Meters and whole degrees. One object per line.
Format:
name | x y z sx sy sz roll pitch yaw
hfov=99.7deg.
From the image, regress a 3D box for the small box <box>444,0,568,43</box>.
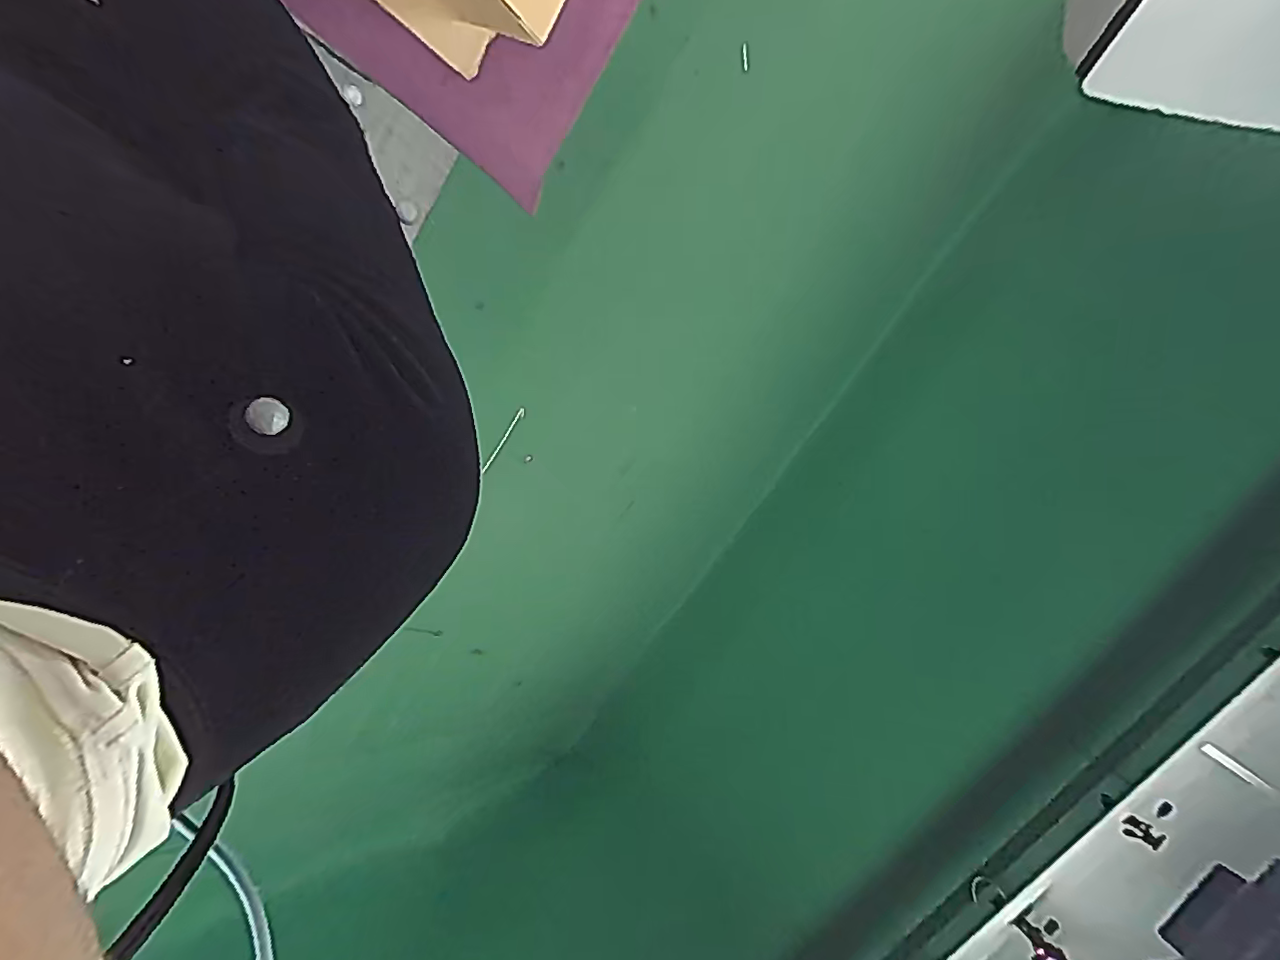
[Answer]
small box | -0.139 -0.526 0.448 0.168 0.176 0.179 8 120 -57
